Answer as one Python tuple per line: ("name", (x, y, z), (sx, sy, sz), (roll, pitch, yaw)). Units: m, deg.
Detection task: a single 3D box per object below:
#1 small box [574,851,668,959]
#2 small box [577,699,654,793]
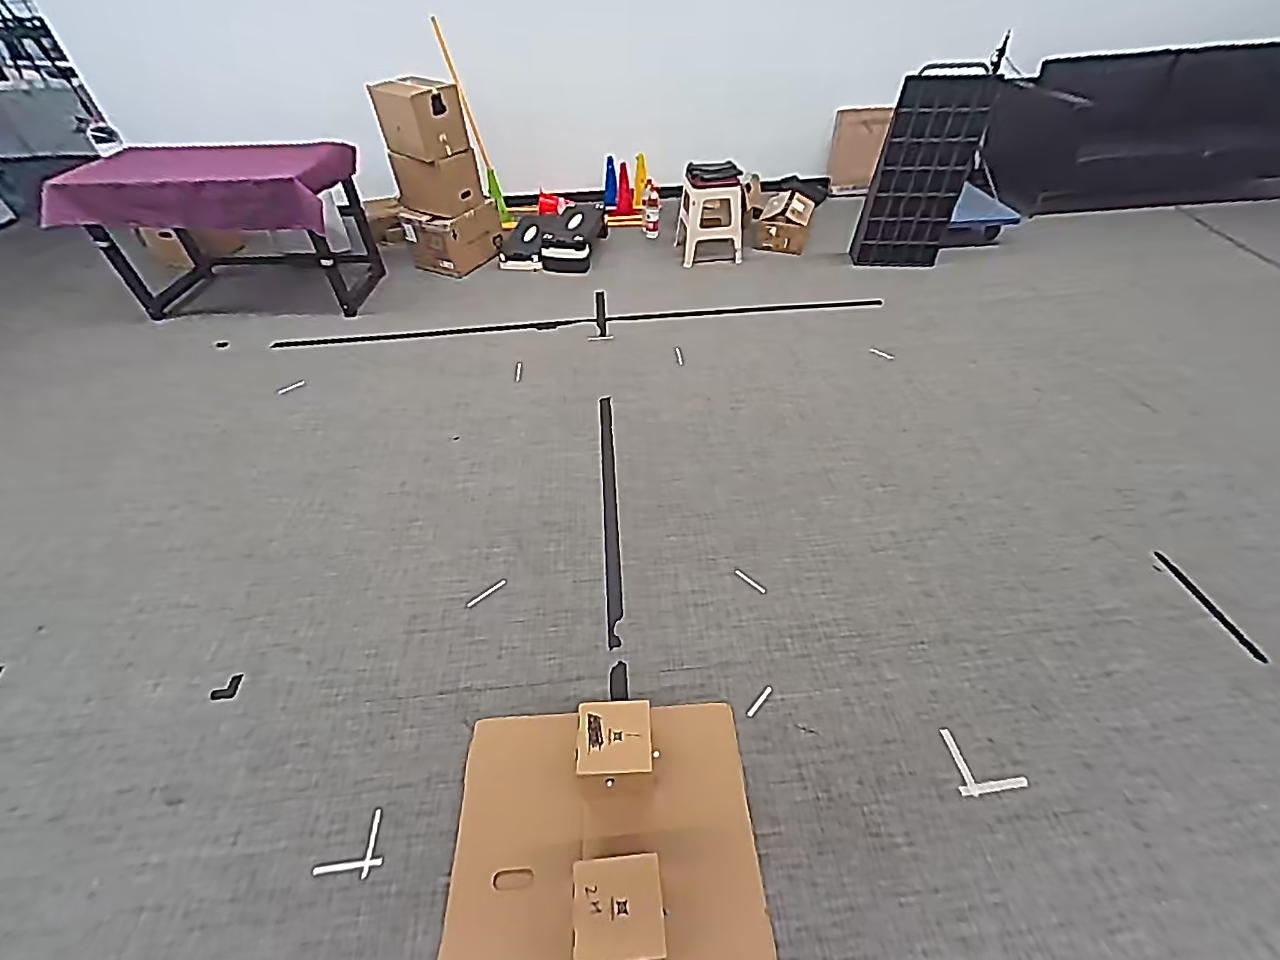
("small box", (-0.038, 0.883, 1.112), (0.179, 0.176, 0.168), (-5, 44, -1))
("small box", (-0.055, 0.661, 1.339), (0.179, 0.176, 0.168), (-2, 45, 0))
